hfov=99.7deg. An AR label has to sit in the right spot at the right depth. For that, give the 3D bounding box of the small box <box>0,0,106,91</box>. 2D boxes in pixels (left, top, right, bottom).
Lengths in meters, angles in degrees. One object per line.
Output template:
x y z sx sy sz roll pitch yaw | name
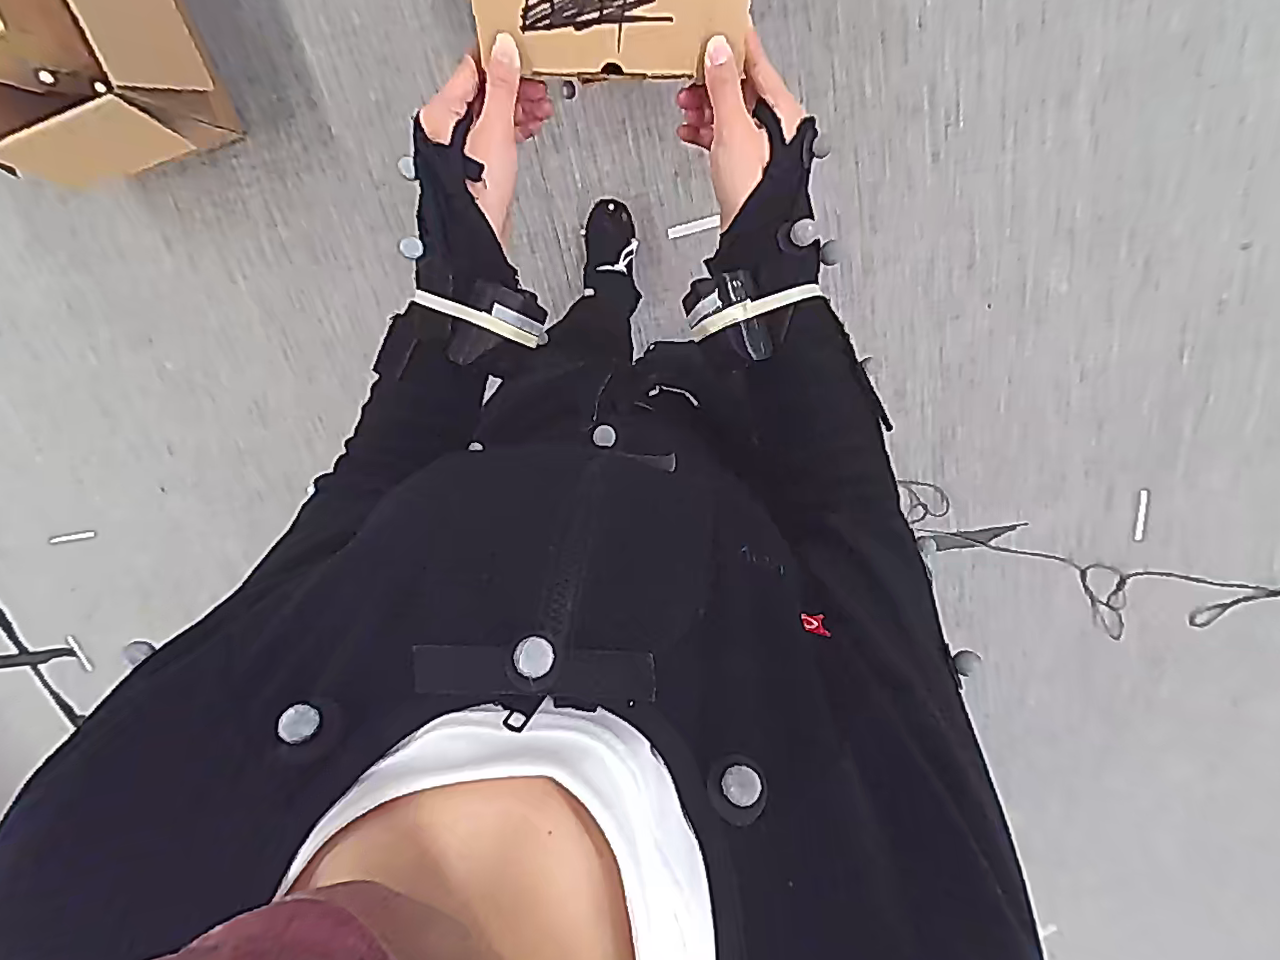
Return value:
-1.083 -0.798 0.908 0.168 0.176 0.179 -11 110 9 | small box

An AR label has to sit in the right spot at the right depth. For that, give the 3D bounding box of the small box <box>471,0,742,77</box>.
-0.013 -0.374 0.352 0.168 0.176 0.179 3 125 2 | small box
